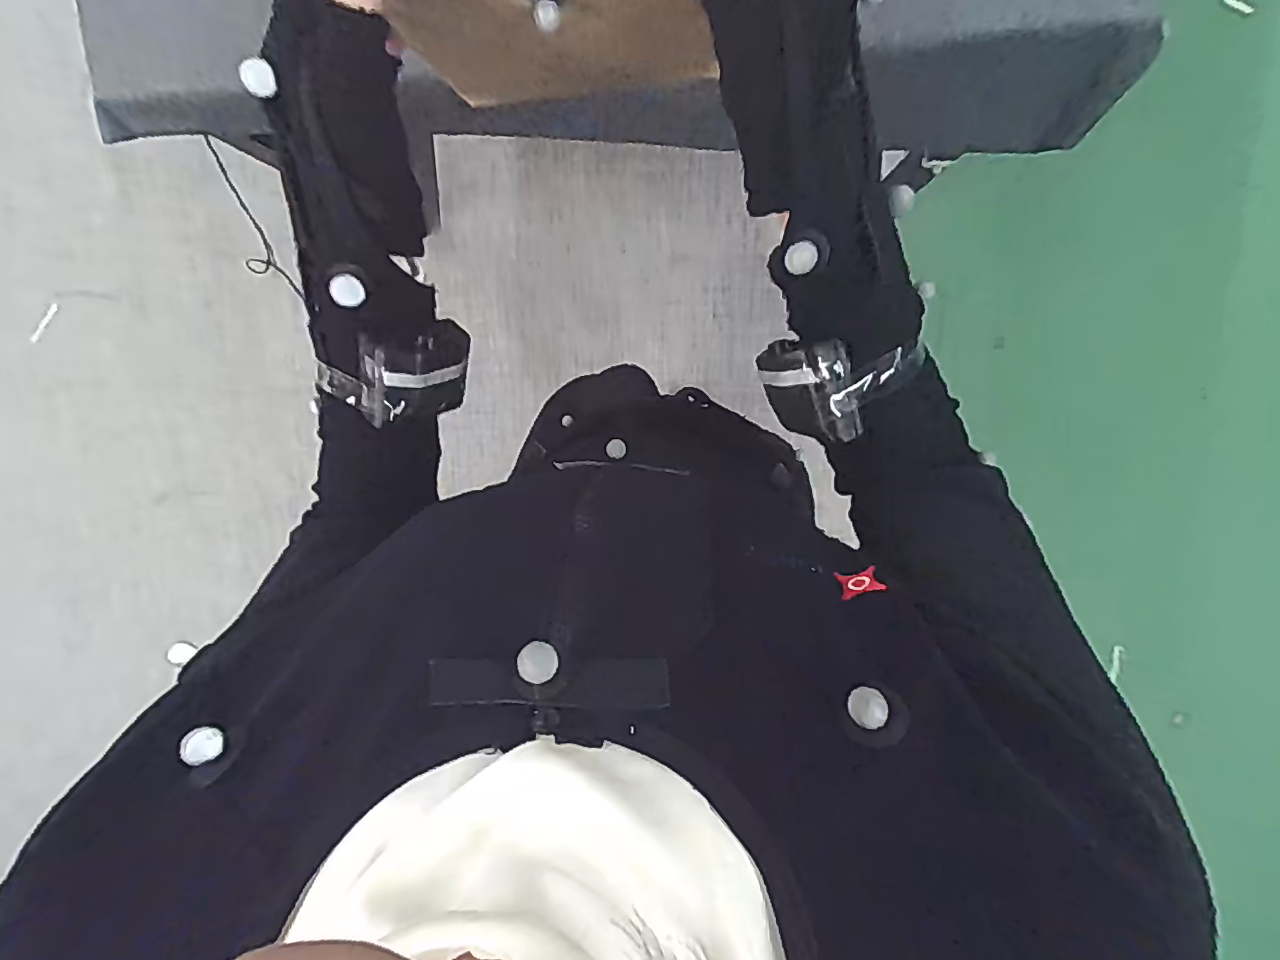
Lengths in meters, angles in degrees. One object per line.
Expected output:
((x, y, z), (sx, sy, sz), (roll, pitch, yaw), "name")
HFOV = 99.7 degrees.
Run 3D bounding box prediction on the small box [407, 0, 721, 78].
((-0.045, -0.327, 0.262), (0.179, 0.176, 0.168), (-3, 108, 5), "small box")
